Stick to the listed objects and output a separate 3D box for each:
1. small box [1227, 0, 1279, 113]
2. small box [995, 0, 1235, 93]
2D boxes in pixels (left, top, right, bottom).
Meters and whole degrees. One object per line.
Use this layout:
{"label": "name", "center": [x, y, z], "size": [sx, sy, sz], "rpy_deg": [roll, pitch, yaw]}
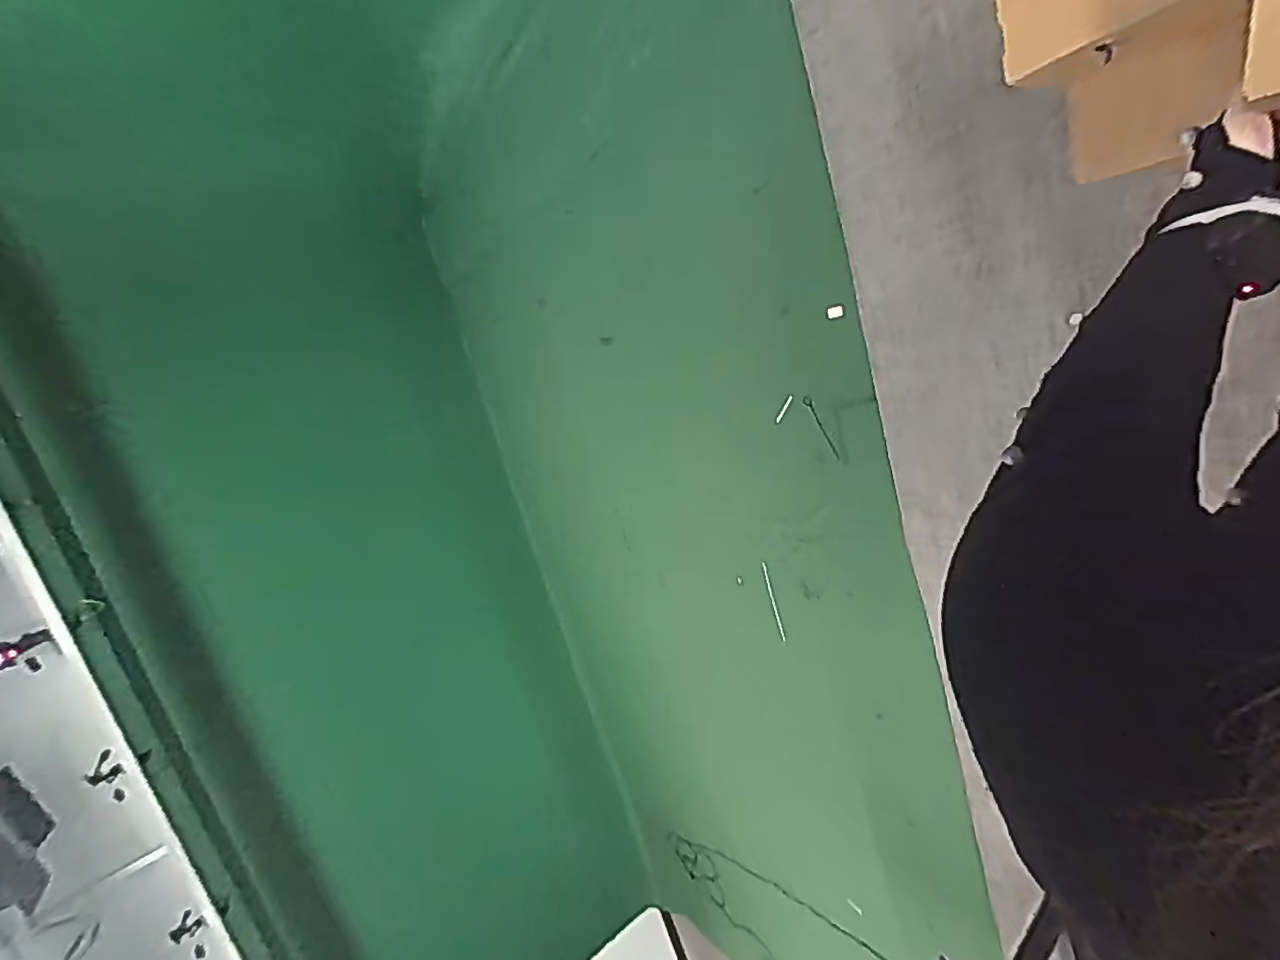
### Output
{"label": "small box", "center": [0.505, -0.349, 0.328], "size": [0.168, 0.176, 0.179], "rpy_deg": [13, 115, 53]}
{"label": "small box", "center": [0.515, -0.553, 0.584], "size": [0.179, 0.176, 0.168], "rpy_deg": [6, 113, 55]}
